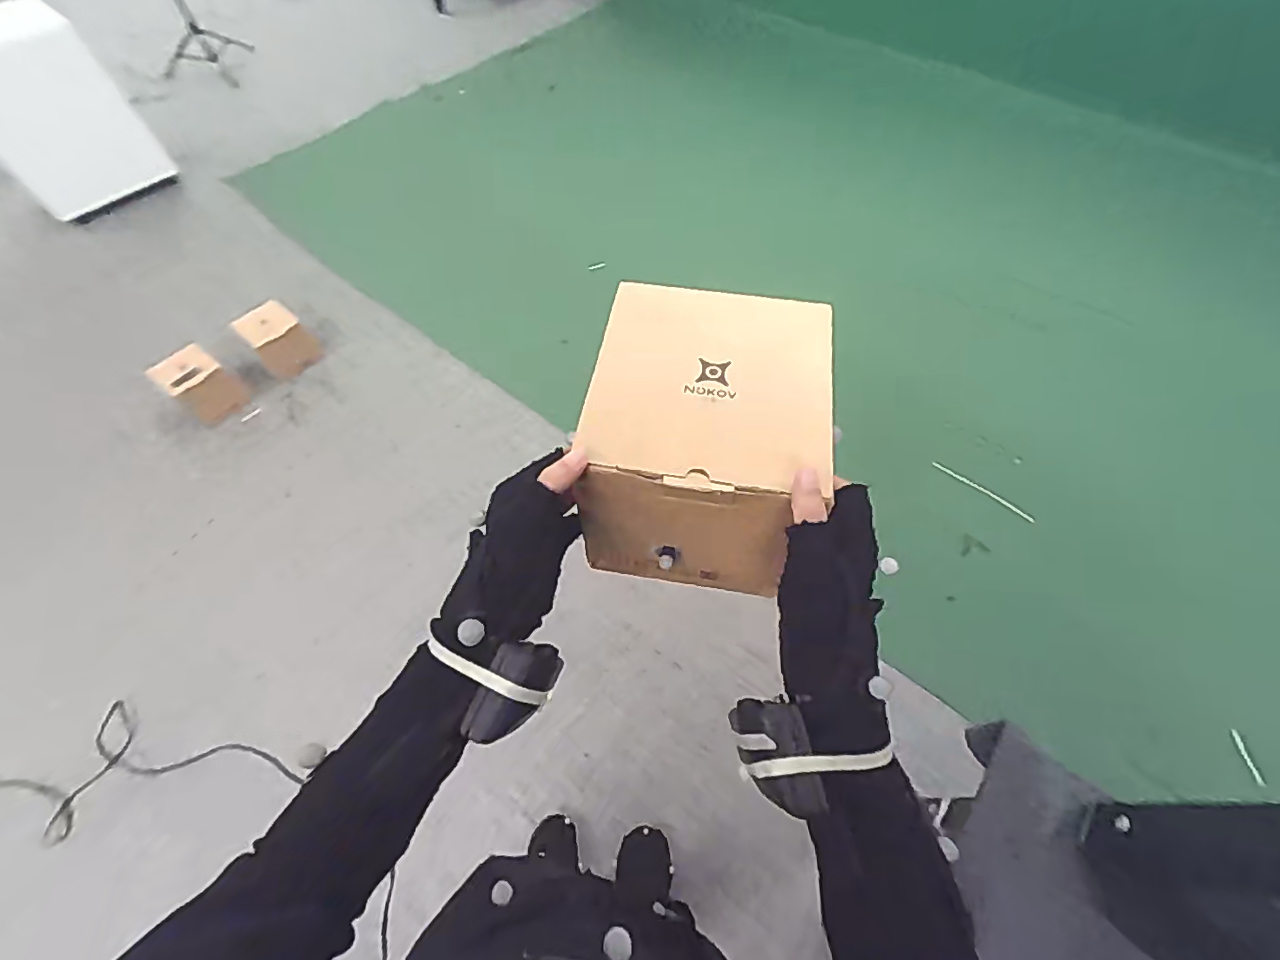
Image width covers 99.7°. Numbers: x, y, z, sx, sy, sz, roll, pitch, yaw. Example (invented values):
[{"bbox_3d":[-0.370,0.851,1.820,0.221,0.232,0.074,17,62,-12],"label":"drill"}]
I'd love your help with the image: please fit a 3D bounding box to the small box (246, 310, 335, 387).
[{"bbox_3d":[-1.238,-0.463,1.925,0.179,0.176,0.168,37,66,20],"label":"small box"}]
